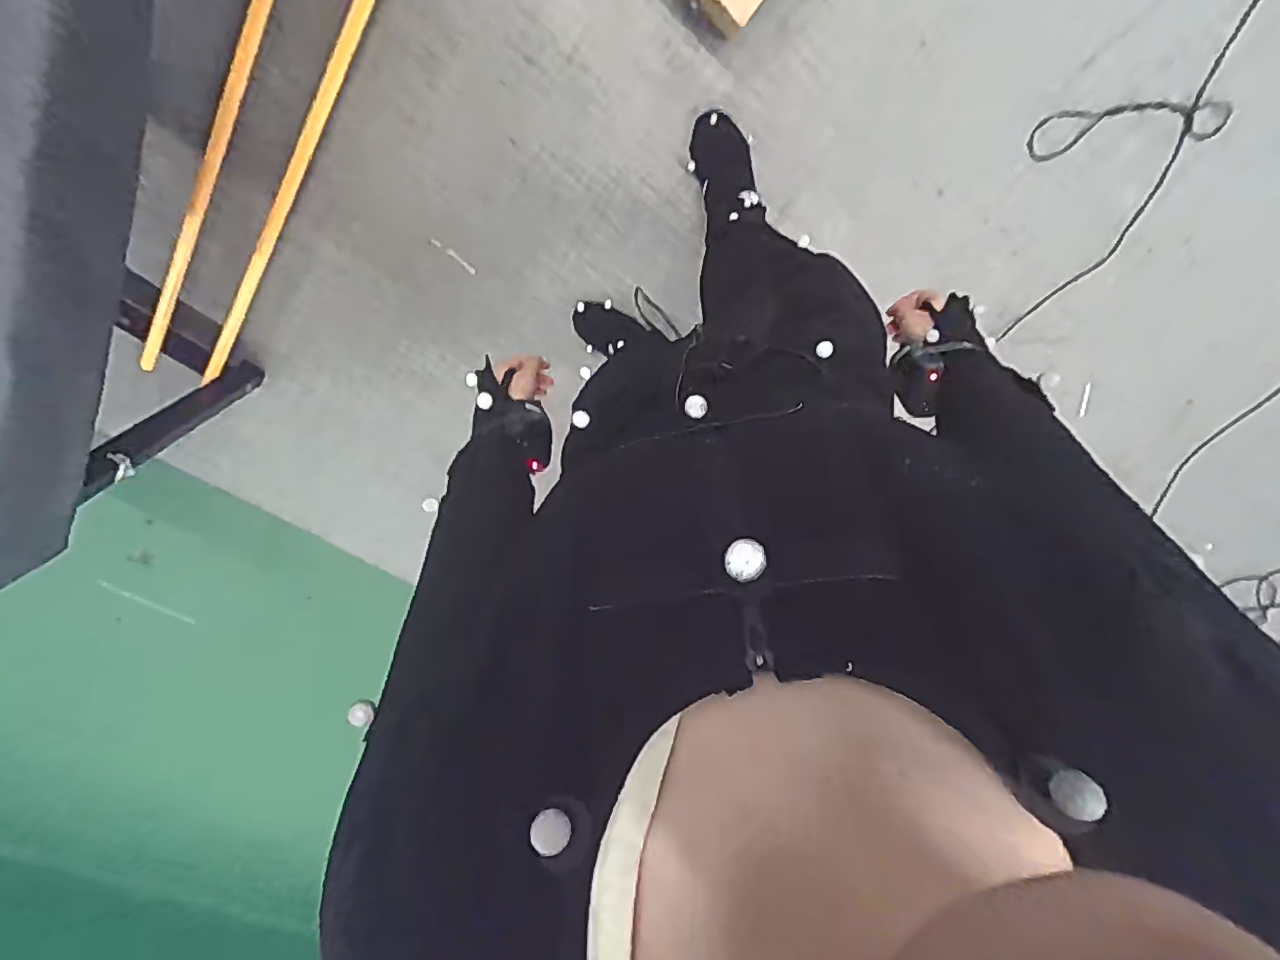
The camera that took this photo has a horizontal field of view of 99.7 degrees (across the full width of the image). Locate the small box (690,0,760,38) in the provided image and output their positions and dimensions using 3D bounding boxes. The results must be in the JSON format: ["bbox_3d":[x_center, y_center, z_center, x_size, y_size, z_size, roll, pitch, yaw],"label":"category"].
[{"bbox_3d":[0.149,-0.845,0.842,0.168,0.176,0.179,36,117,-19],"label":"small box"}]
